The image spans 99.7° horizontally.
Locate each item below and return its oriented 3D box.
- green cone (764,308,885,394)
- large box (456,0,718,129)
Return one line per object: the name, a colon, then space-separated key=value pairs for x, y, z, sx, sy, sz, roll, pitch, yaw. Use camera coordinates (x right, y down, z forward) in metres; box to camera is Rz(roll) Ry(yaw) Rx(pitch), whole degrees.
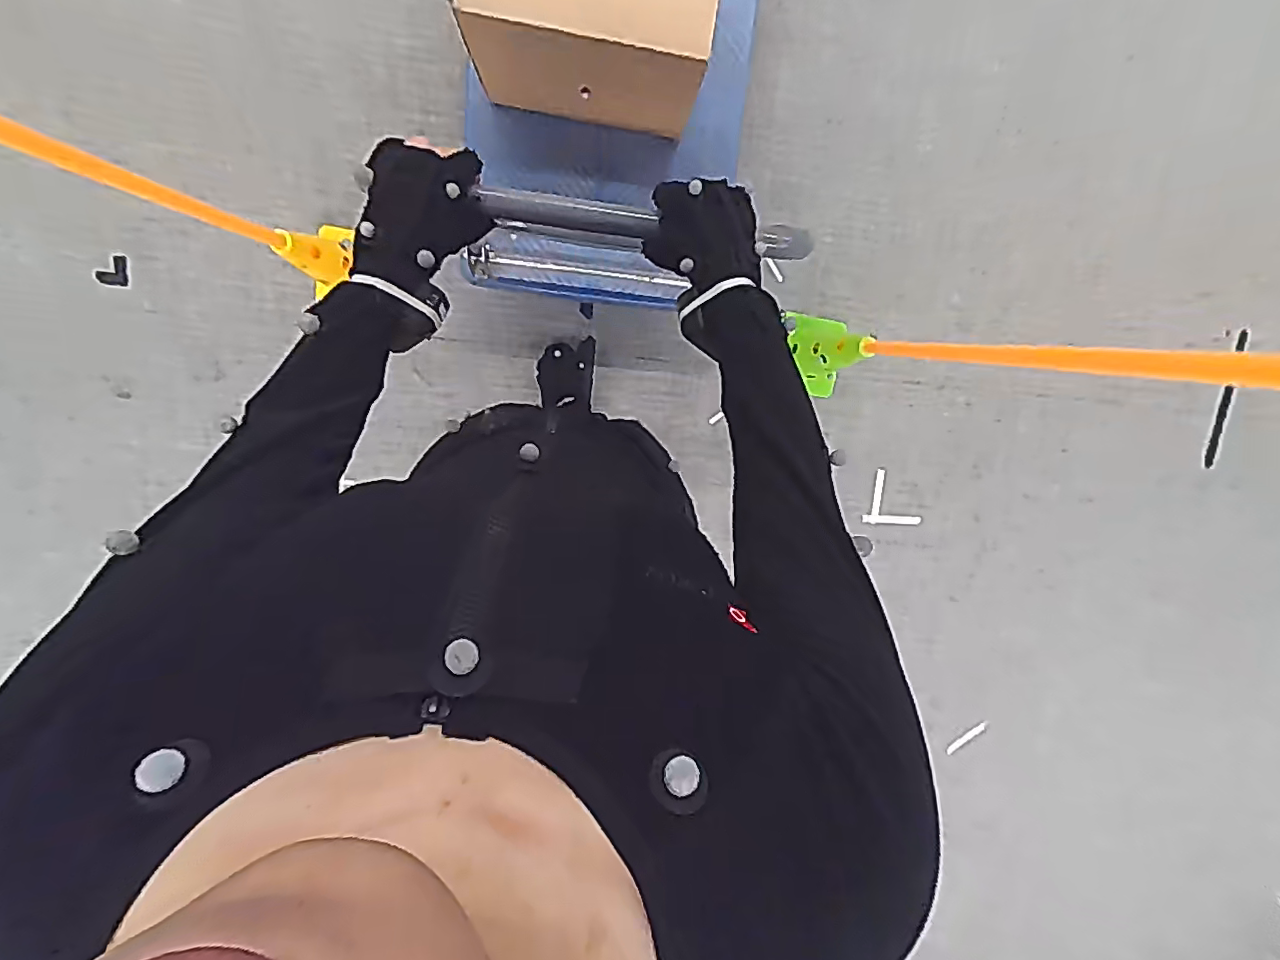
green cone: x=0.454 y=-0.306 z=1.262 sx=0.202 sy=0.368 sz=0.200 roll=9 pitch=101 yaw=-7
large box: x=-0.074 y=-0.877 z=0.957 sx=0.408 sy=0.320 sz=0.320 roll=7 pitch=101 yaw=-5
